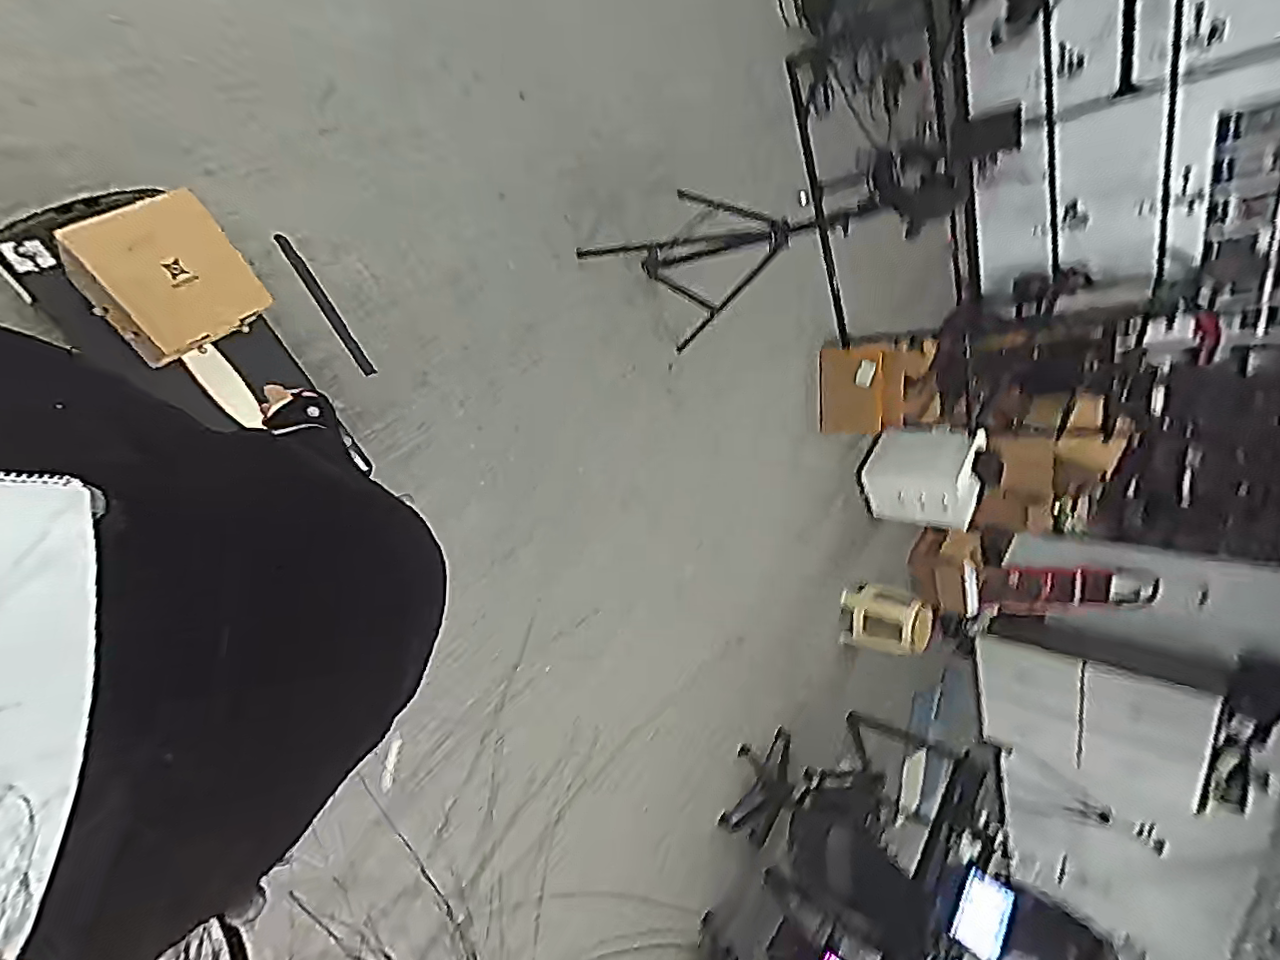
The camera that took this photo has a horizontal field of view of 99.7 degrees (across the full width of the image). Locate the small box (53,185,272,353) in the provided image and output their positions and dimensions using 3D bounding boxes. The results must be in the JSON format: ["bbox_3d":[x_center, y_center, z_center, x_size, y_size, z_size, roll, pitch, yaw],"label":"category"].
[{"bbox_3d":[-0.703,-0.304,0.808,0.168,0.176,0.179,-47,125,-31],"label":"small box"}]

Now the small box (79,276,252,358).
[{"bbox_3d":[-0.817,-0.321,0.924,0.168,0.176,0.179,-45,124,-30],"label":"small box"}]
